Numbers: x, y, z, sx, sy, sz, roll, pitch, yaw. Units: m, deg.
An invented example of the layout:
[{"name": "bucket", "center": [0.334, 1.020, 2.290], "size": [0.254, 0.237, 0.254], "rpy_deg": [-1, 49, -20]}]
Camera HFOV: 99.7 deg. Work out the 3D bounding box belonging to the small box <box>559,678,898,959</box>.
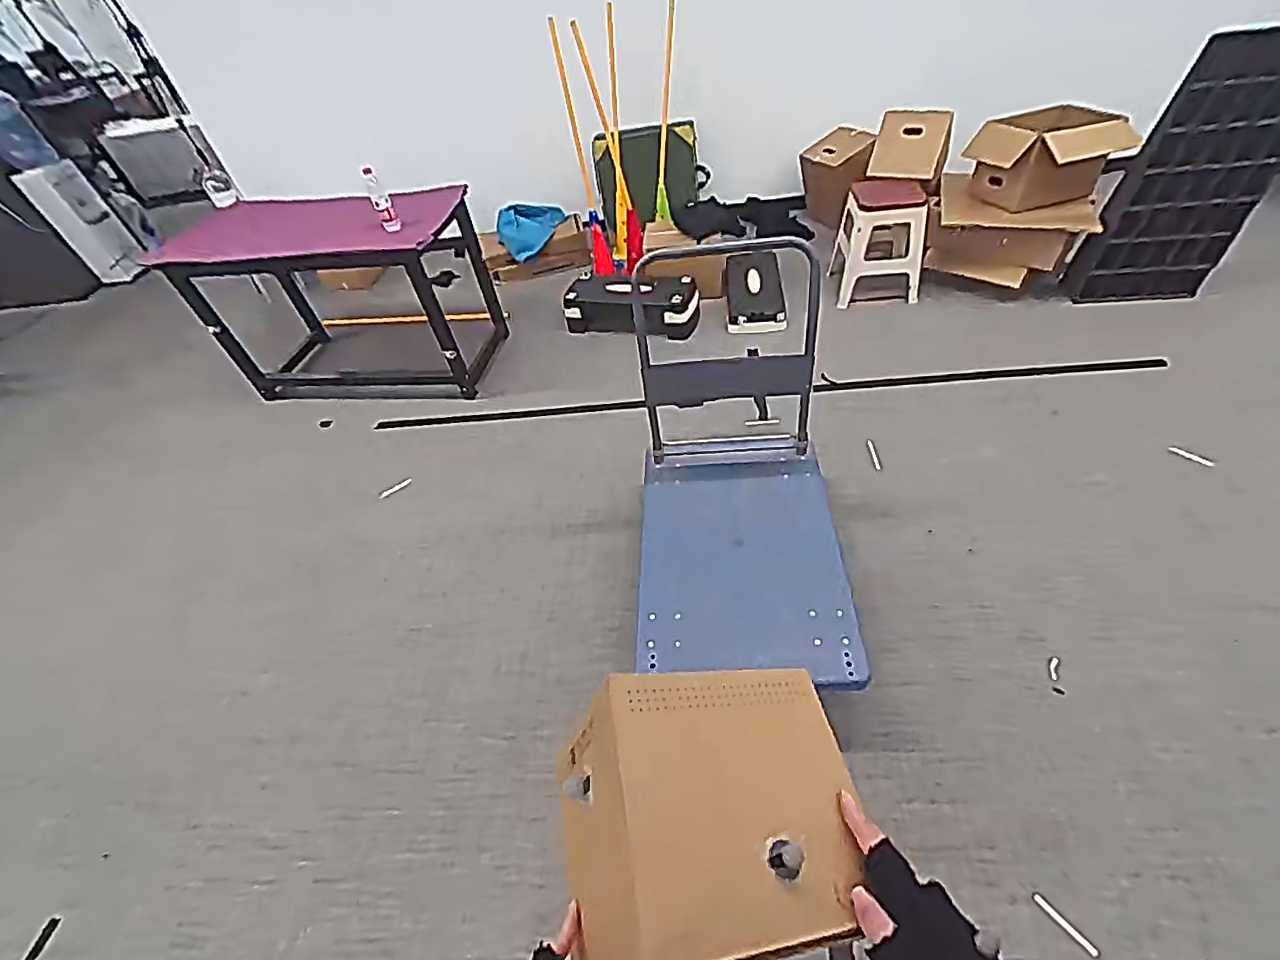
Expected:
[{"name": "small box", "center": [0.045, 0.264, 0.415], "size": [0.179, 0.168, 0.176], "rpy_deg": [6, 44, -21]}]
